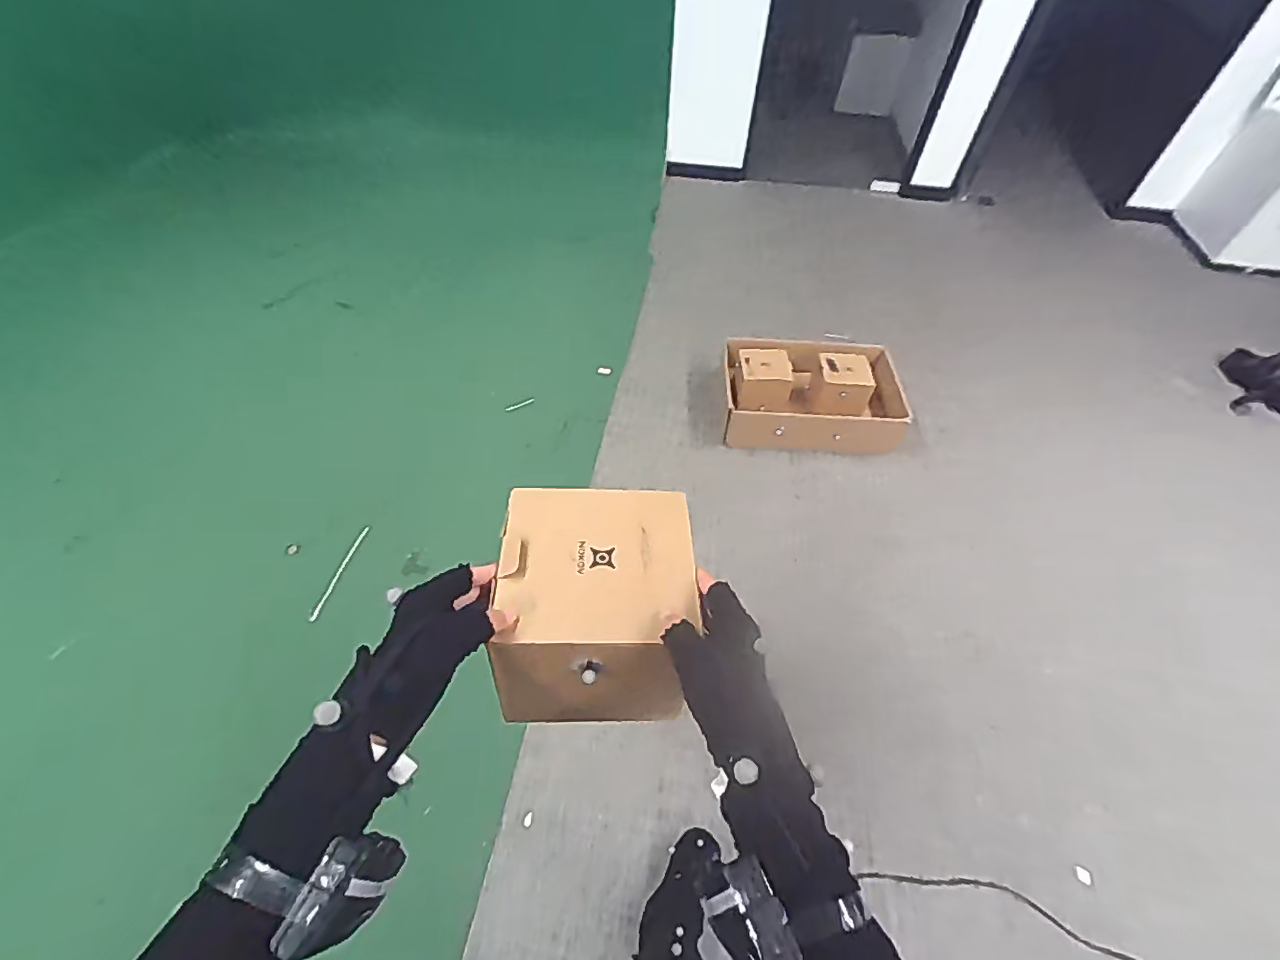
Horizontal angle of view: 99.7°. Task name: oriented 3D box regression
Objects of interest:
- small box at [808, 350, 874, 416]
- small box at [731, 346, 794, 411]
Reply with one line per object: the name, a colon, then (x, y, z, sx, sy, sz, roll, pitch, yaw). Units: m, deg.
small box: (0.721, -0.350, 1.963, 0.179, 0.176, 0.168, 4, 52, 1)
small box: (0.439, -0.365, 1.963, 0.179, 0.176, 0.168, 2, 51, -3)
